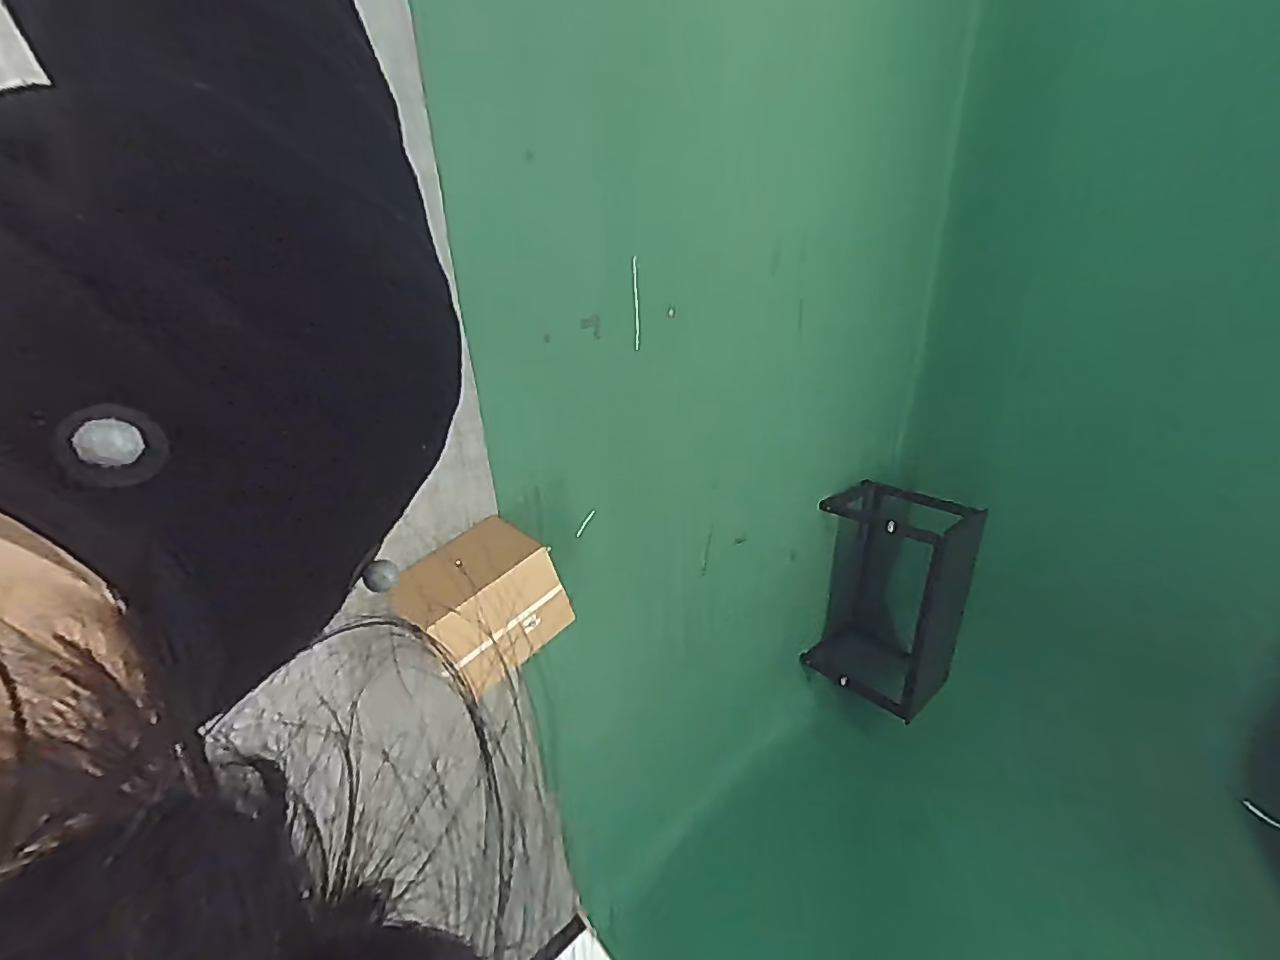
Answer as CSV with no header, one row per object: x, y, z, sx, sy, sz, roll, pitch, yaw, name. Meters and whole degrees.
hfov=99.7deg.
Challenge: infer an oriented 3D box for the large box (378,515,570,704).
-0.494,0.371,1.641,0.408,0.320,0.320,-36,128,-30,large box
